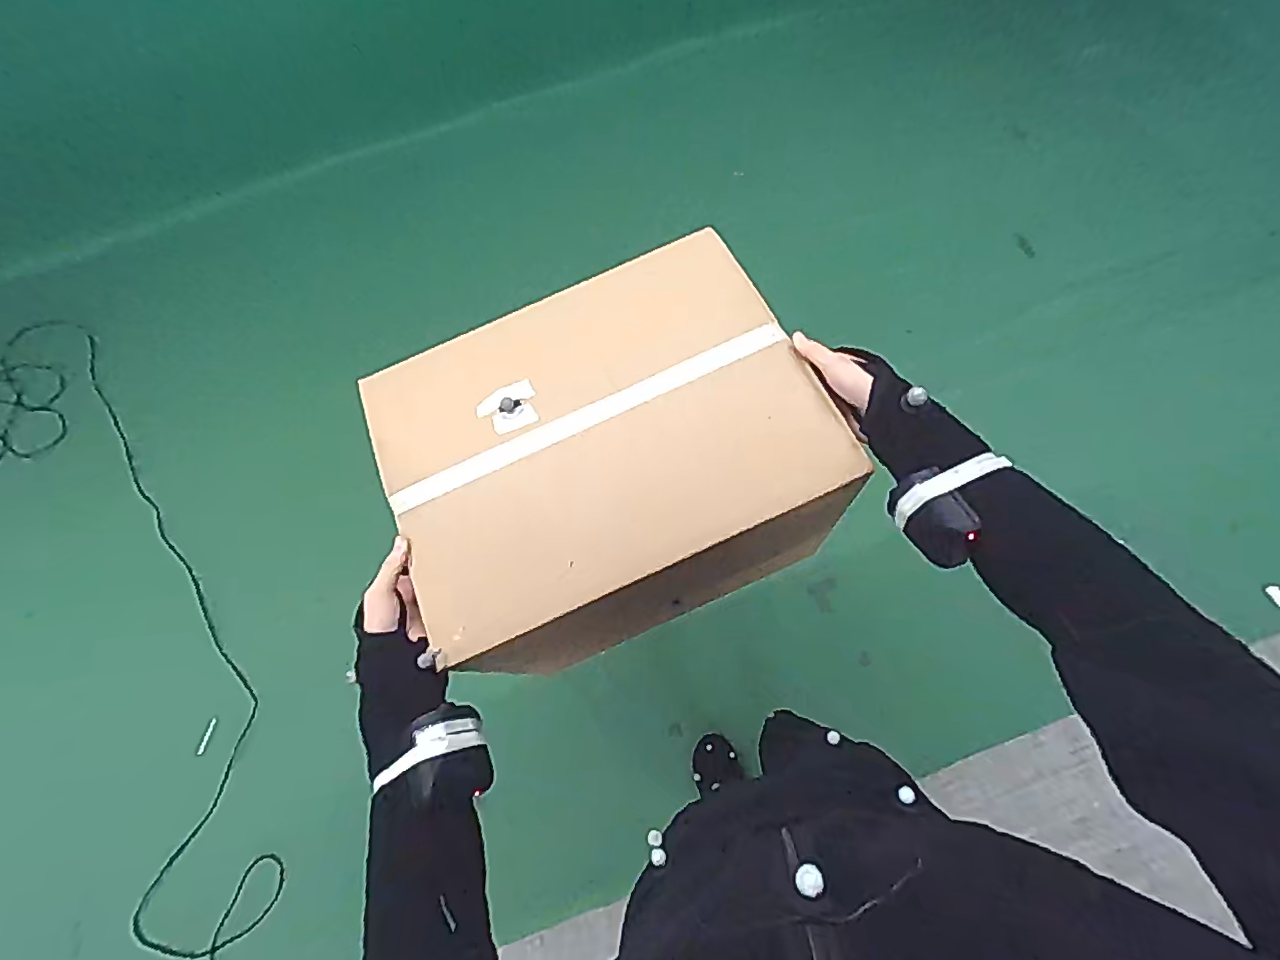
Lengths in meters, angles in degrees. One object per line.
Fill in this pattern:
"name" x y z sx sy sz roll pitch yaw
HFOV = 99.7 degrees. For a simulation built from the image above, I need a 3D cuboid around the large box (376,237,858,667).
"large box" -0.022 -0.002 0.662 0.408 0.320 0.320 -25 68 -1
